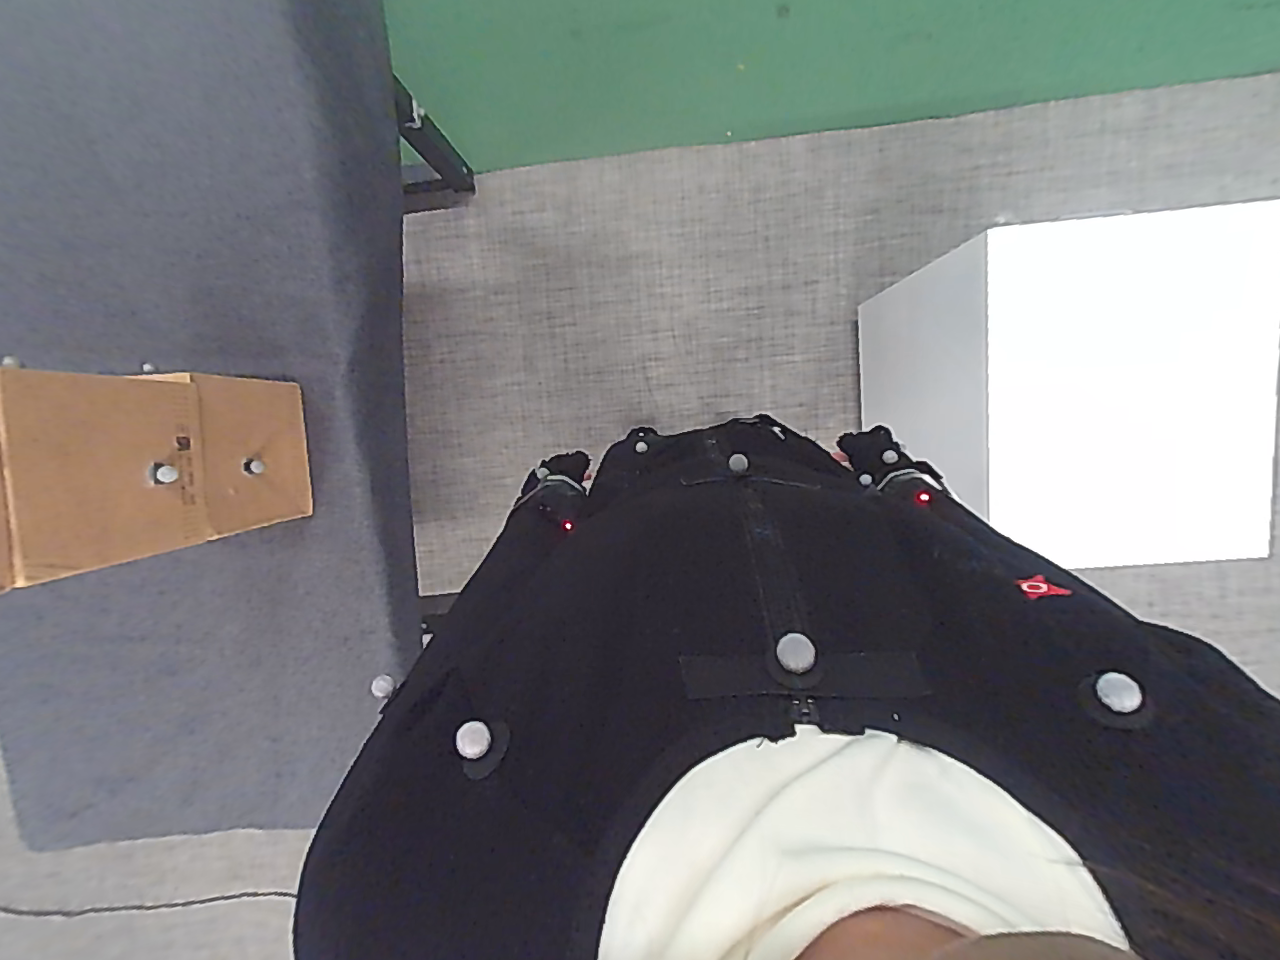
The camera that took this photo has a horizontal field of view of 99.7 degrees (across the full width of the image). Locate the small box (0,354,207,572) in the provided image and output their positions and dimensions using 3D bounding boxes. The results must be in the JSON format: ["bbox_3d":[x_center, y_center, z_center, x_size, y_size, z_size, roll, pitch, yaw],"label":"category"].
[{"bbox_3d":[-0.548,-0.018,0.489,0.179,0.176,0.168,-2,97,6],"label":"small box"}]

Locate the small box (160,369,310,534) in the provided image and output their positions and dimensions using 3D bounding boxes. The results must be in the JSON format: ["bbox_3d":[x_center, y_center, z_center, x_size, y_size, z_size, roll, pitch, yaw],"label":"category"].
[{"bbox_3d":[-0.532,-0.038,0.651,0.168,0.176,0.179,-2,97,4],"label":"small box"}]
